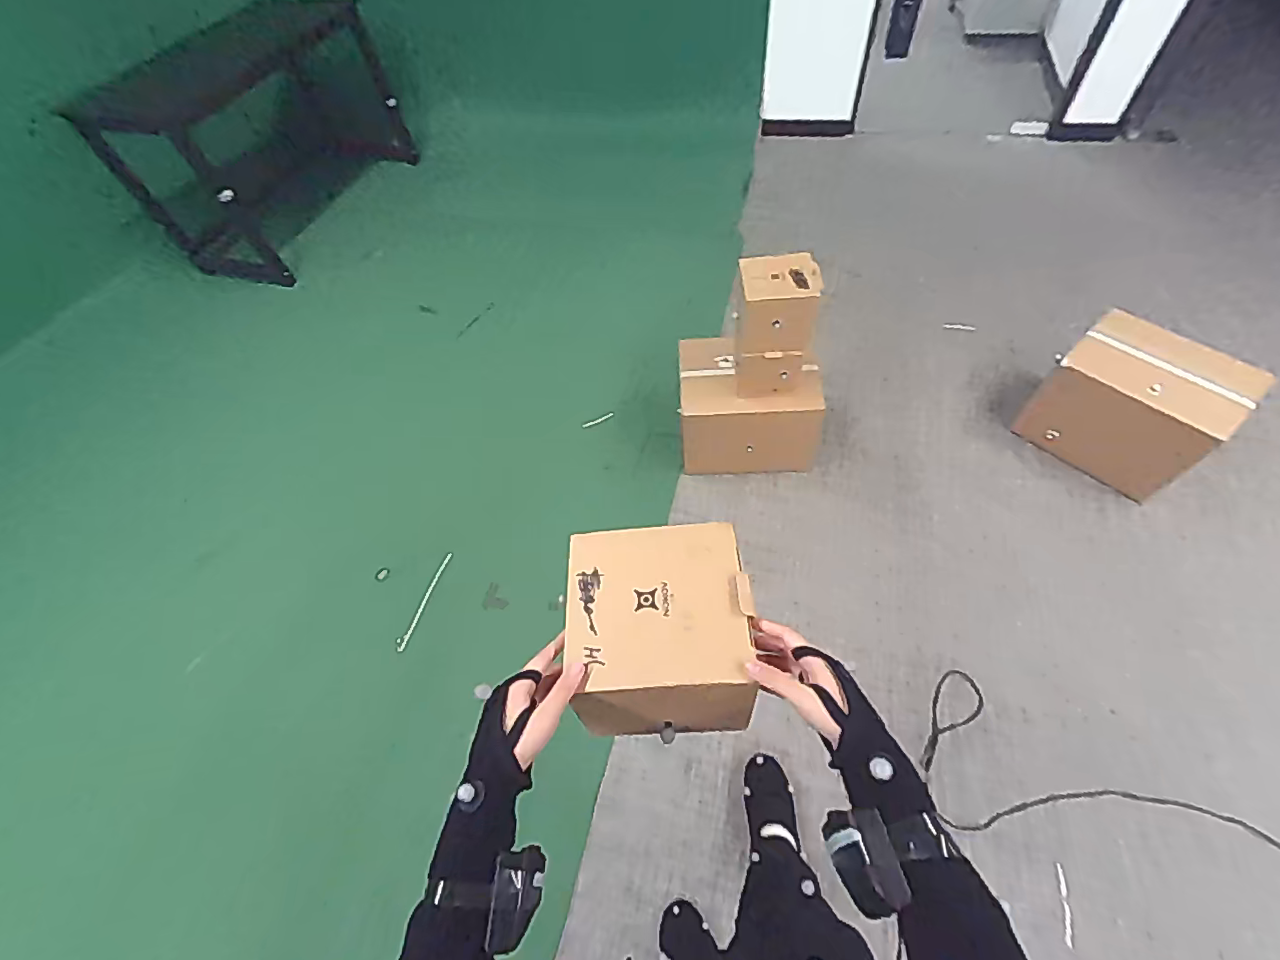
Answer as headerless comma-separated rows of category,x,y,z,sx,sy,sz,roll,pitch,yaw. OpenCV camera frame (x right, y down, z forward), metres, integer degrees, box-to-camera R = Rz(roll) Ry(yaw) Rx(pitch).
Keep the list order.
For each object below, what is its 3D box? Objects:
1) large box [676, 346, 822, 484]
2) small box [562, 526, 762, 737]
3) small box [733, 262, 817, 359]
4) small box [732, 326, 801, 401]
large box,0.328,-0.205,1.721,0.408,0.320,0.320,-3,54,6
small box,0.023,0.165,0.577,0.179,0.176,0.168,-4,51,3
small box,0.335,-0.427,1.374,0.179,0.176,0.168,-3,56,5
small box,0.346,-0.333,1.508,0.168,0.176,0.179,-2,56,5
